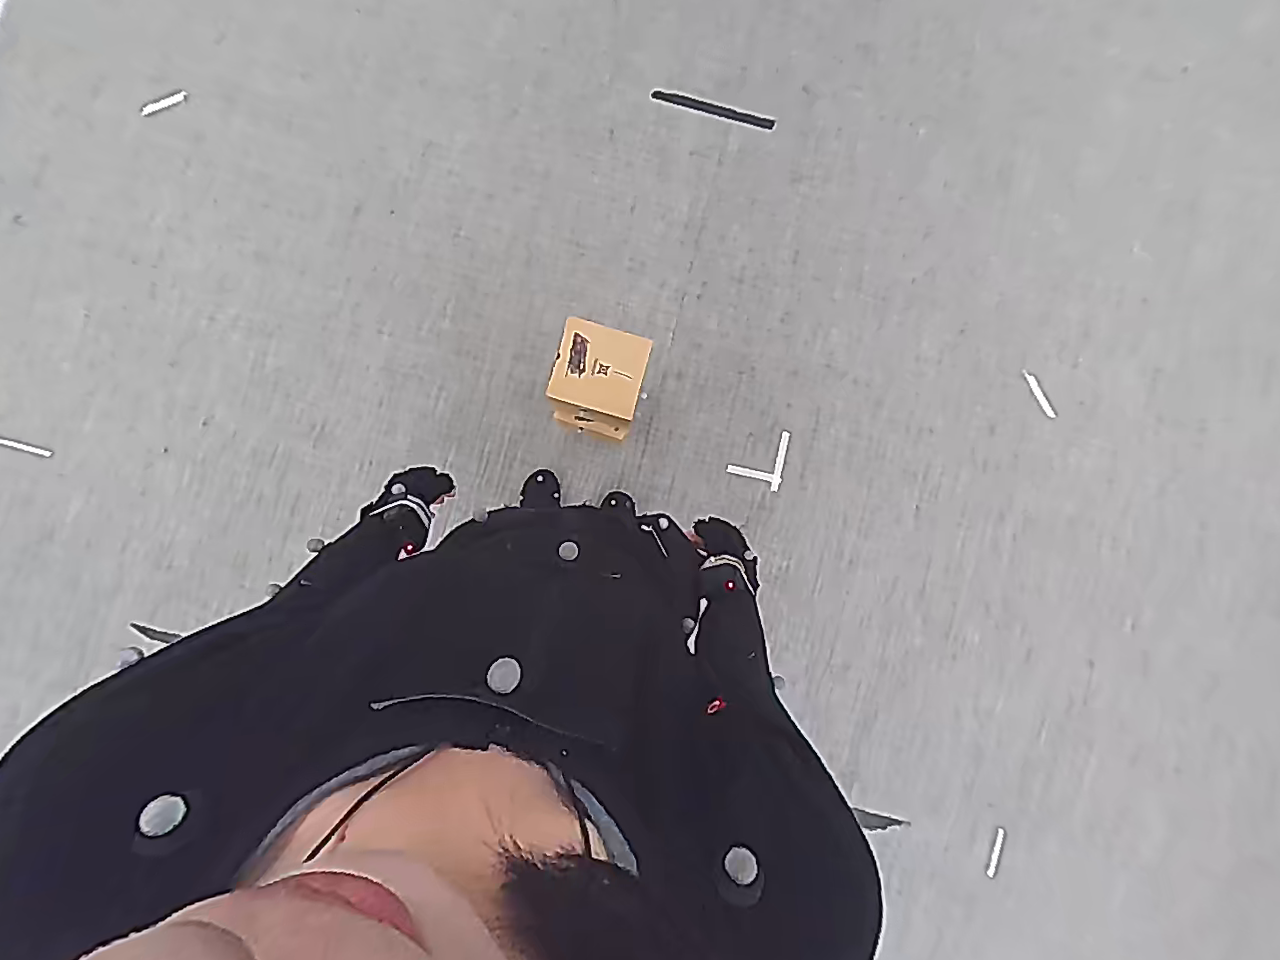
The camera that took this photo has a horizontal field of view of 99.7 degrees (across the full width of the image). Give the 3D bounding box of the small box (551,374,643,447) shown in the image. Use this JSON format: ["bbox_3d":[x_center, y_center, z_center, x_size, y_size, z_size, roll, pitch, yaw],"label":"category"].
[{"bbox_3d":[-0.102,-0.190,1.290,0.168,0.176,0.179,19,87,-2],"label":"small box"}]

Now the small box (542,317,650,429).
[{"bbox_3d":[-0.090,-0.212,1.125,0.179,0.176,0.168,16,88,-3],"label":"small box"}]
